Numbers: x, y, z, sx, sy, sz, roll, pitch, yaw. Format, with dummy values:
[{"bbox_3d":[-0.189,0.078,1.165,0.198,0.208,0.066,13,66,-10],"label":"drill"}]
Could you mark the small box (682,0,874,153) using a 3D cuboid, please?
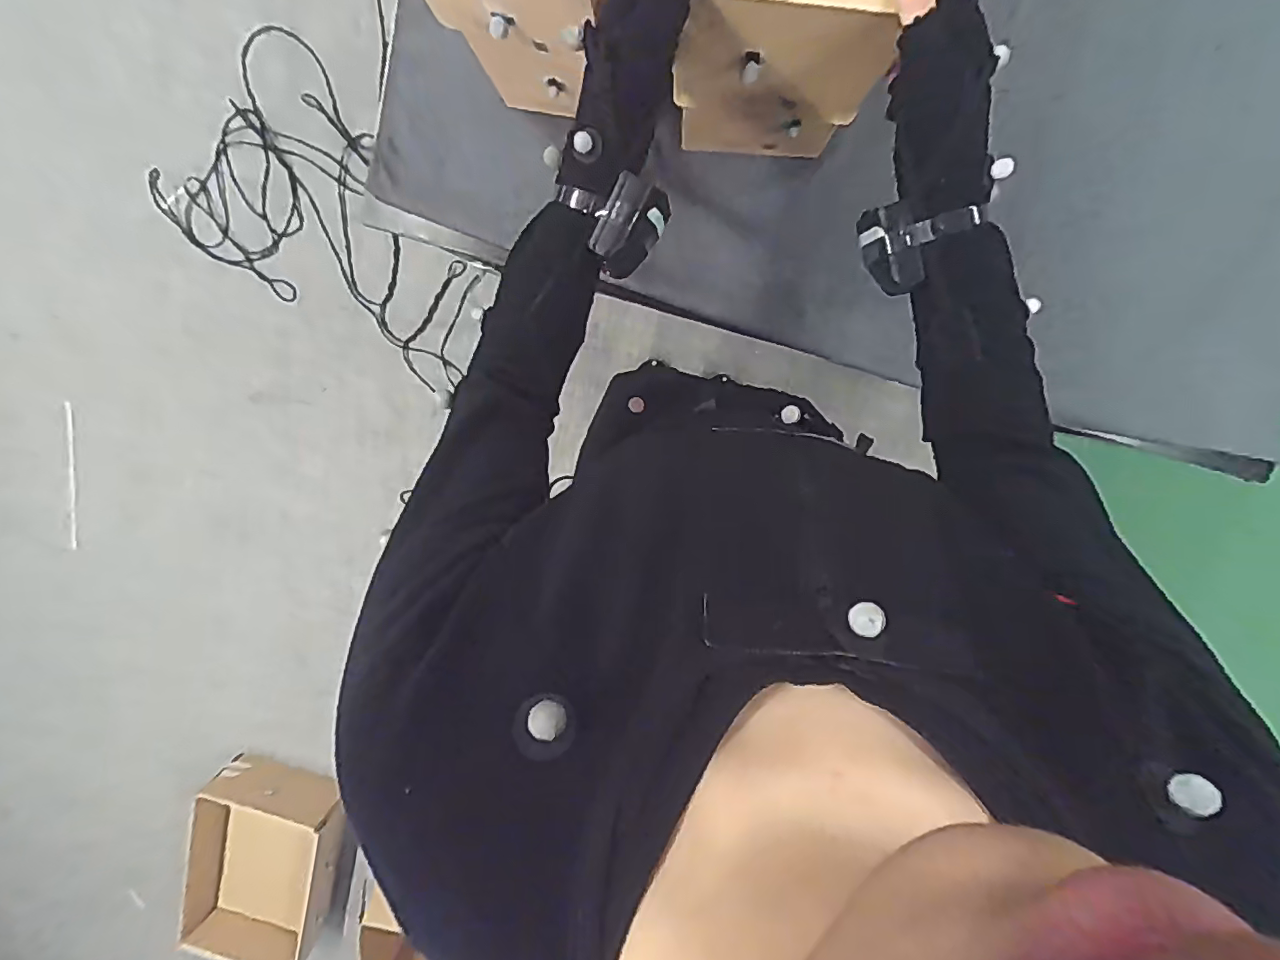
[{"bbox_3d":[0.134,-0.463,0.556,0.168,0.176,0.179,5,101,2],"label":"small box"}]
